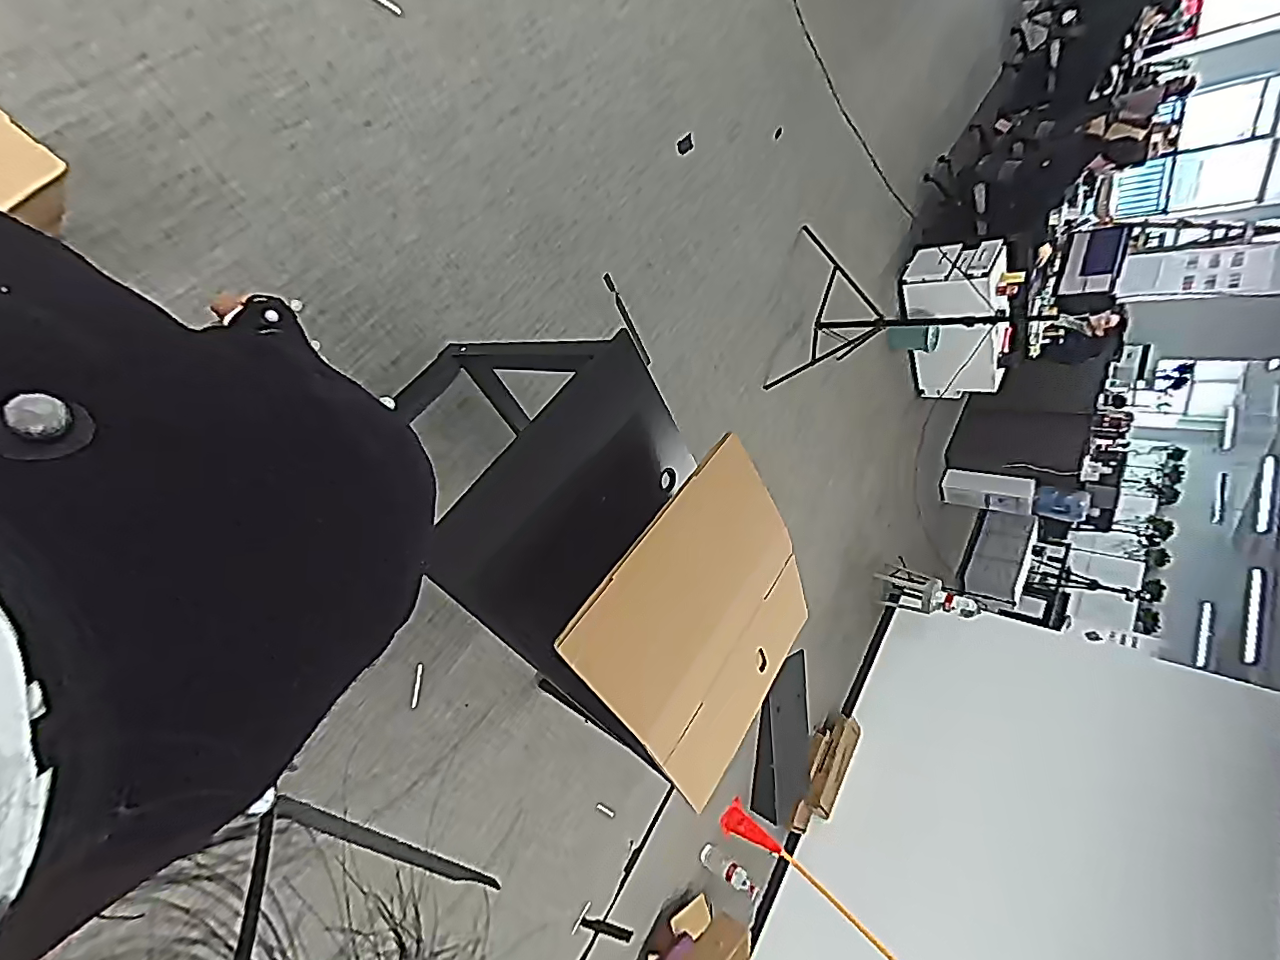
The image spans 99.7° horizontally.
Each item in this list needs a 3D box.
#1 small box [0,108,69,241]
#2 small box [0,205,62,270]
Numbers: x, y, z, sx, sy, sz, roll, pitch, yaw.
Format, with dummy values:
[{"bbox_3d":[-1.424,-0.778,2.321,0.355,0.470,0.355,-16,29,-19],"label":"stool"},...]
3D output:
[{"bbox_3d":[-0.865,-0.390,0.657,0.168,0.176,0.179,49,62,-41],"label":"small box"},{"bbox_3d":[-1.107,-0.437,0.873,0.179,0.176,0.168,-56,133,-22],"label":"small box"}]
